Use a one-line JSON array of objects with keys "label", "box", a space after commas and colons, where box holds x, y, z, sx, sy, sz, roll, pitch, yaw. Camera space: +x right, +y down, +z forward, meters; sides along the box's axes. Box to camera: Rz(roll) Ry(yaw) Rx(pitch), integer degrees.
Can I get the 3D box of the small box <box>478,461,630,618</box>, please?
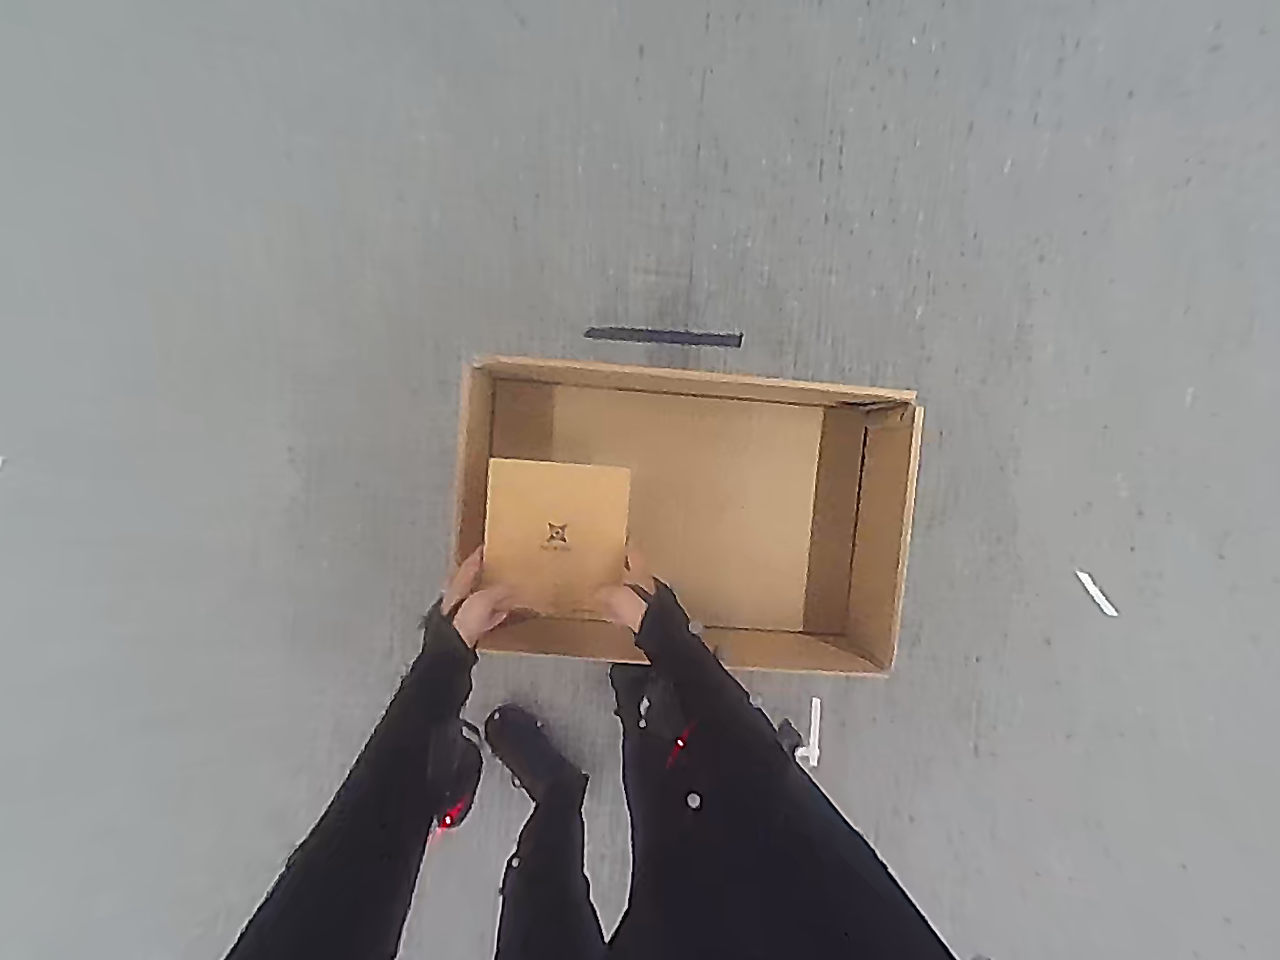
[{"label": "small box", "box": [-0.110, 0.070, 0.702, 0.168, 0.176, 0.179, 4, 91, -9]}]
